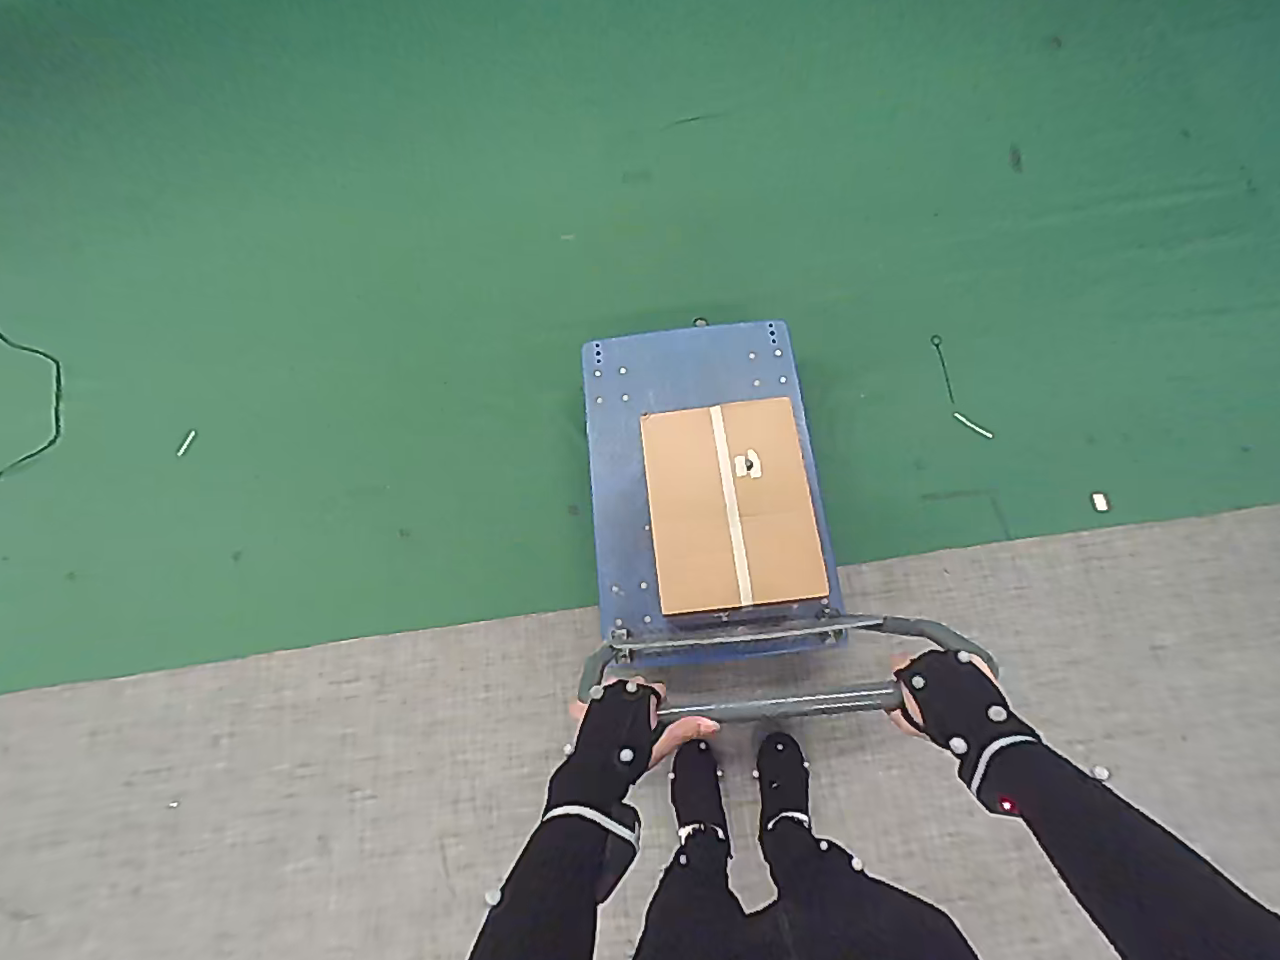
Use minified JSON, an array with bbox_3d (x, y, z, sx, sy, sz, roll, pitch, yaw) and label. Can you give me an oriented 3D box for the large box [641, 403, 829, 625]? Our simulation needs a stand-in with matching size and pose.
[{"bbox_3d":[0.186,0.093,1.196,0.320,0.320,0.408,-7,73,1],"label":"large box"}]
